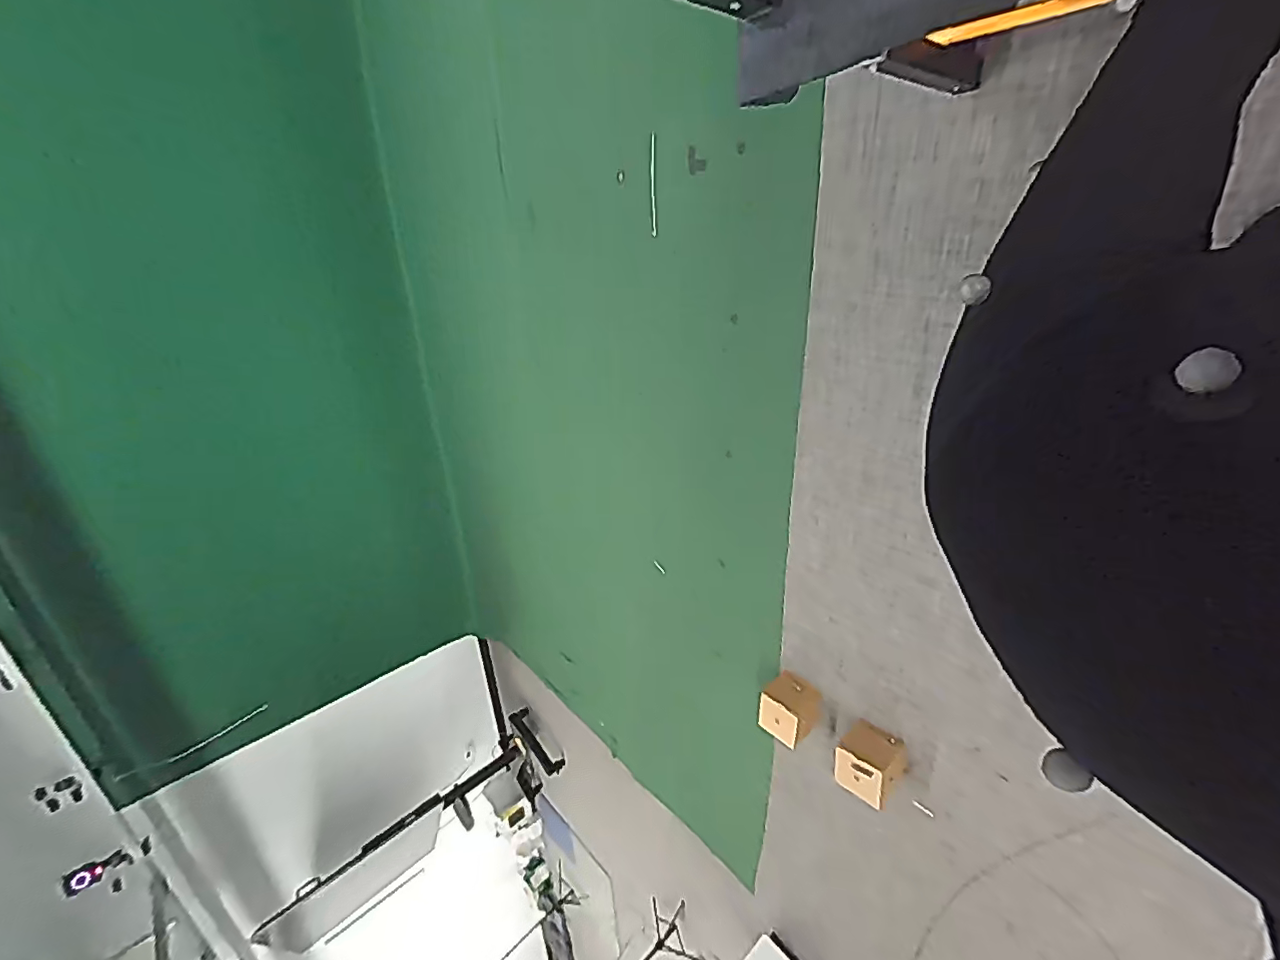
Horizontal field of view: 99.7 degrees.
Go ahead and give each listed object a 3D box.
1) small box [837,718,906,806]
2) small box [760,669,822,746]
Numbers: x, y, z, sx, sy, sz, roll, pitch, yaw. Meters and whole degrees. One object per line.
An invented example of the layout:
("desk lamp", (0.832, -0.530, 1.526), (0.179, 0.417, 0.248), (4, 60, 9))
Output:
("small box", (0.805, 0.969, 1.877), (0.168, 0.176, 0.179), (17, 121, 46))
("small box", (0.589, 0.879, 2.100), (0.168, 0.176, 0.179), (23, 124, 42))
